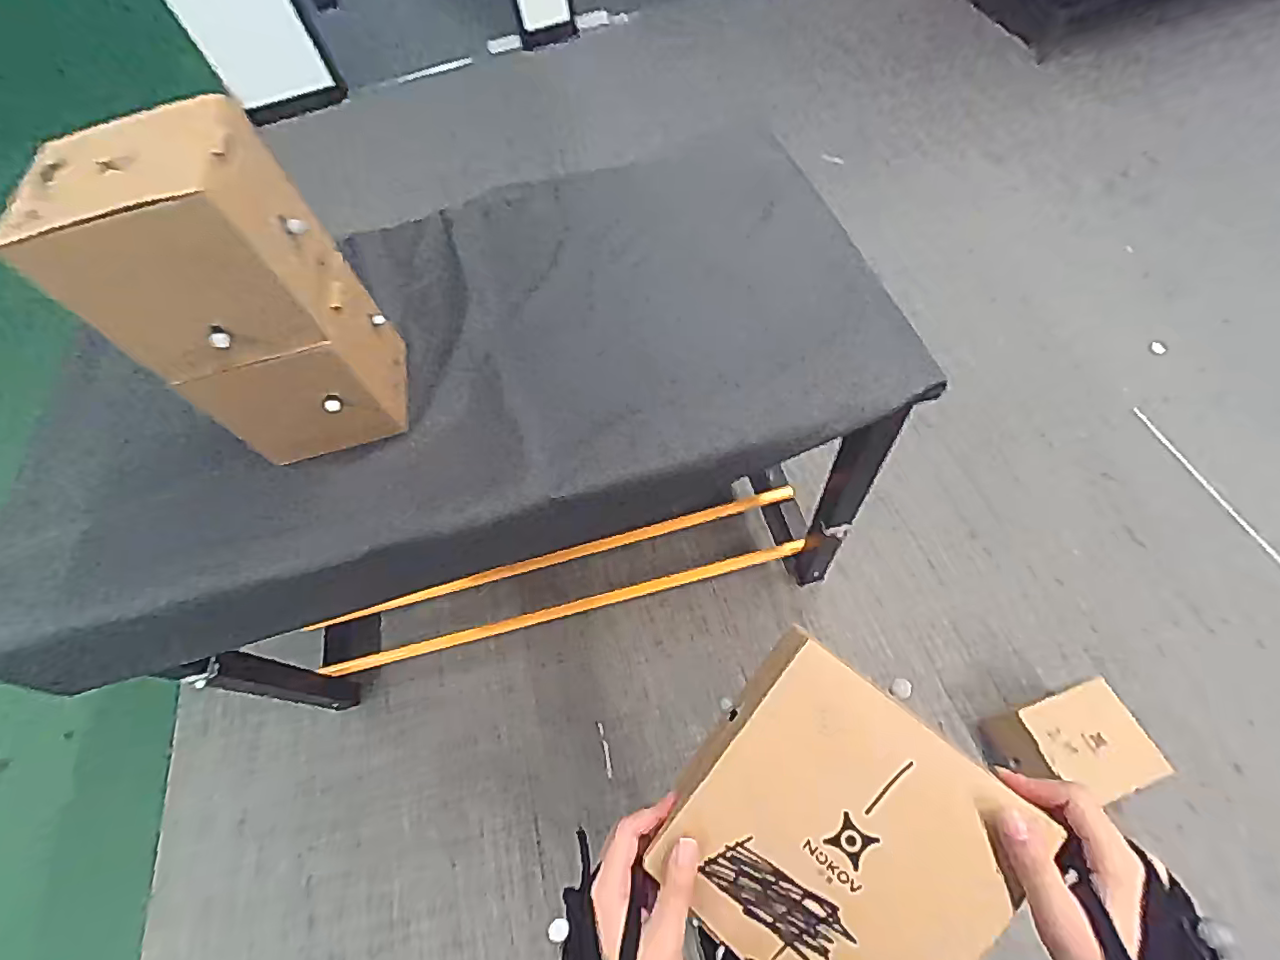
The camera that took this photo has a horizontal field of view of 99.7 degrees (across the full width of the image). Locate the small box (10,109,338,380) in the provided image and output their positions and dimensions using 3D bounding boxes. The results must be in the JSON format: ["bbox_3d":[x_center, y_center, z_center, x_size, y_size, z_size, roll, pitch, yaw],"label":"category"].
[{"bbox_3d":[-0.435,-0.229,0.547,0.179,0.176,0.168,-16,58,-2],"label":"small box"}]

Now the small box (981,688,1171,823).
[{"bbox_3d":[0.781,0.505,0.994,0.179,0.176,0.168,-21,59,-4],"label":"small box"}]

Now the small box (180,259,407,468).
[{"bbox_3d":[-0.413,-0.140,0.683,0.179,0.176,0.168,-15,58,-1],"label":"small box"}]
